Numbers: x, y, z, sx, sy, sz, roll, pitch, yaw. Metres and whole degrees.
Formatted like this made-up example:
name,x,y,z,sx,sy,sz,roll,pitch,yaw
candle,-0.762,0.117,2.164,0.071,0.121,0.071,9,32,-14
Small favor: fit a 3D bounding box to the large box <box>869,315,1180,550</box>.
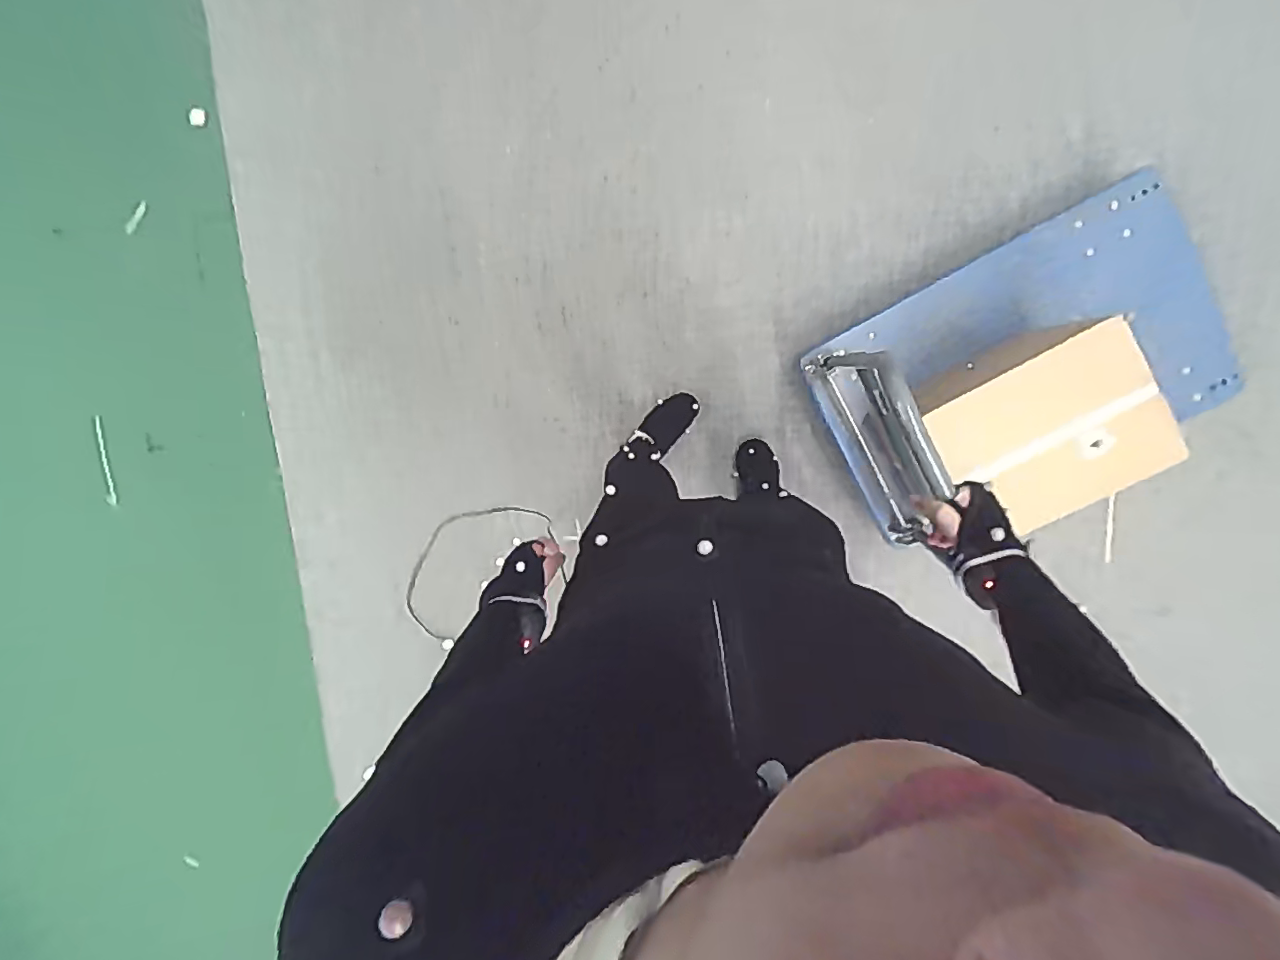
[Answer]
name,x,y,z,sx,sy,sz,roll,pitch,yaw
large box,0.799,-0.103,1.193,0.408,0.320,0.320,-29,96,9
